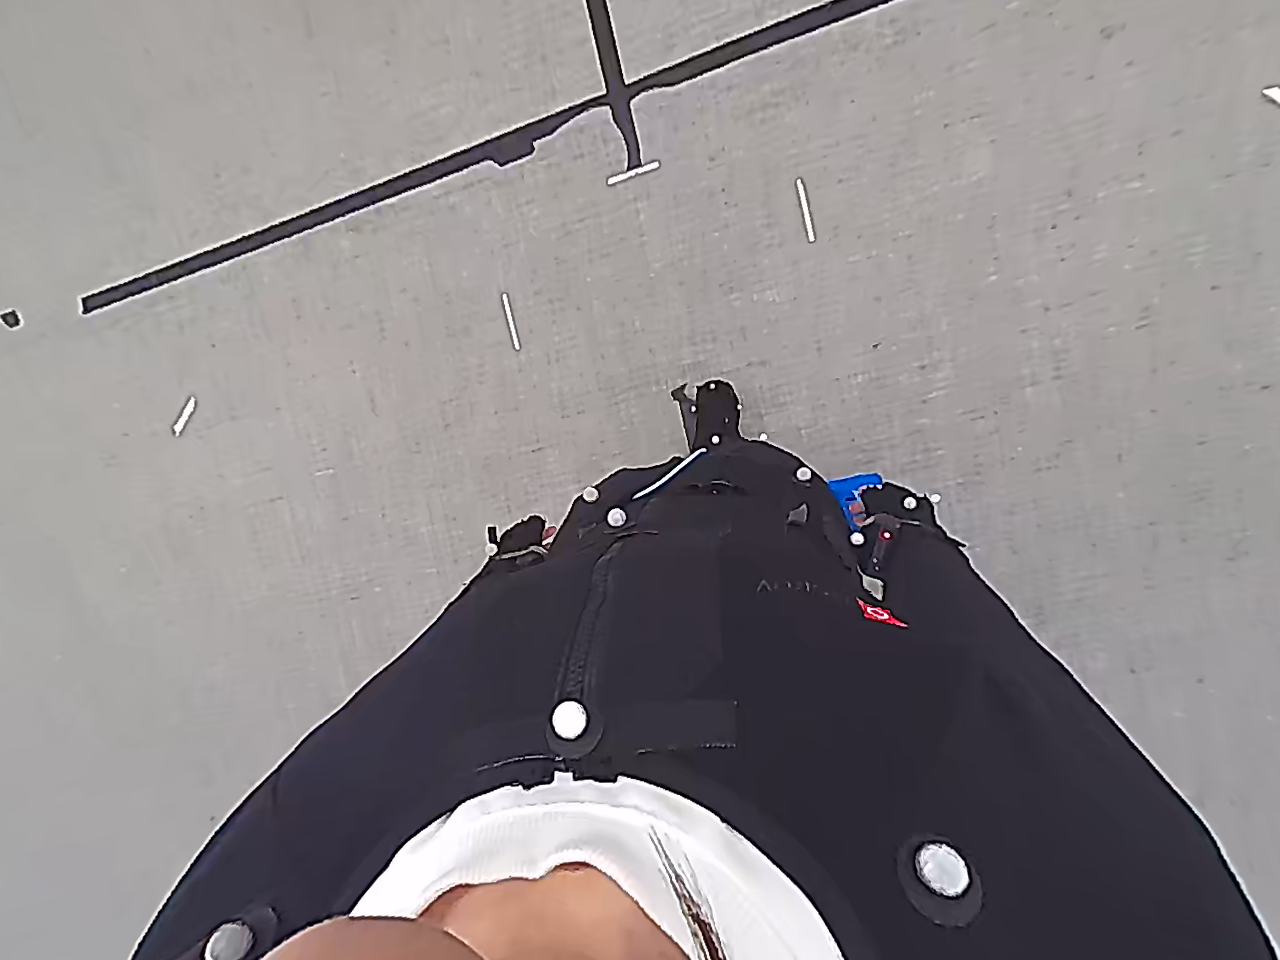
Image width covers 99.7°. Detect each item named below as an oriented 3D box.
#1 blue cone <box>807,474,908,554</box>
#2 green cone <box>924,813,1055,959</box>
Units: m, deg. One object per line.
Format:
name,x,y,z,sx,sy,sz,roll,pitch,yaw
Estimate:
blue cone,0.502,0.103,1.199,0.192,0.380,0.193,-9,94,9
green cone,0.817,0.967,1.206,0.202,0.368,0.200,-13,93,9
